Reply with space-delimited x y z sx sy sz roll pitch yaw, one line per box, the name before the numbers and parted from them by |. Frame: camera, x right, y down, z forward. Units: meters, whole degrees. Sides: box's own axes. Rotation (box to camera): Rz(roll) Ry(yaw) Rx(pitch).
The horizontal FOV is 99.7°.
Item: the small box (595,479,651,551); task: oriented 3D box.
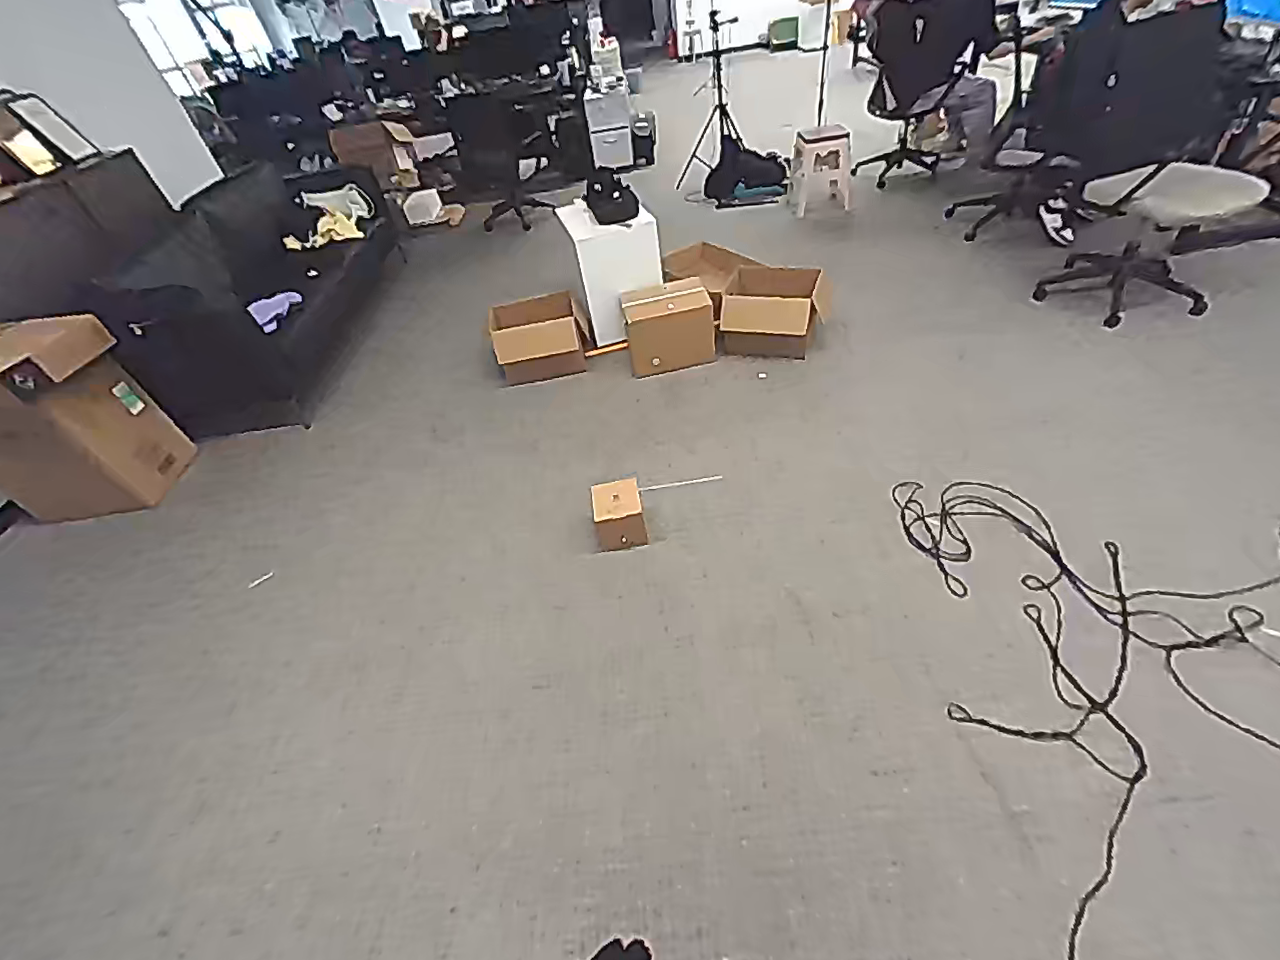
small box | -0.061 0.125 1.919 0.168 0.176 0.179 -11 43 1
